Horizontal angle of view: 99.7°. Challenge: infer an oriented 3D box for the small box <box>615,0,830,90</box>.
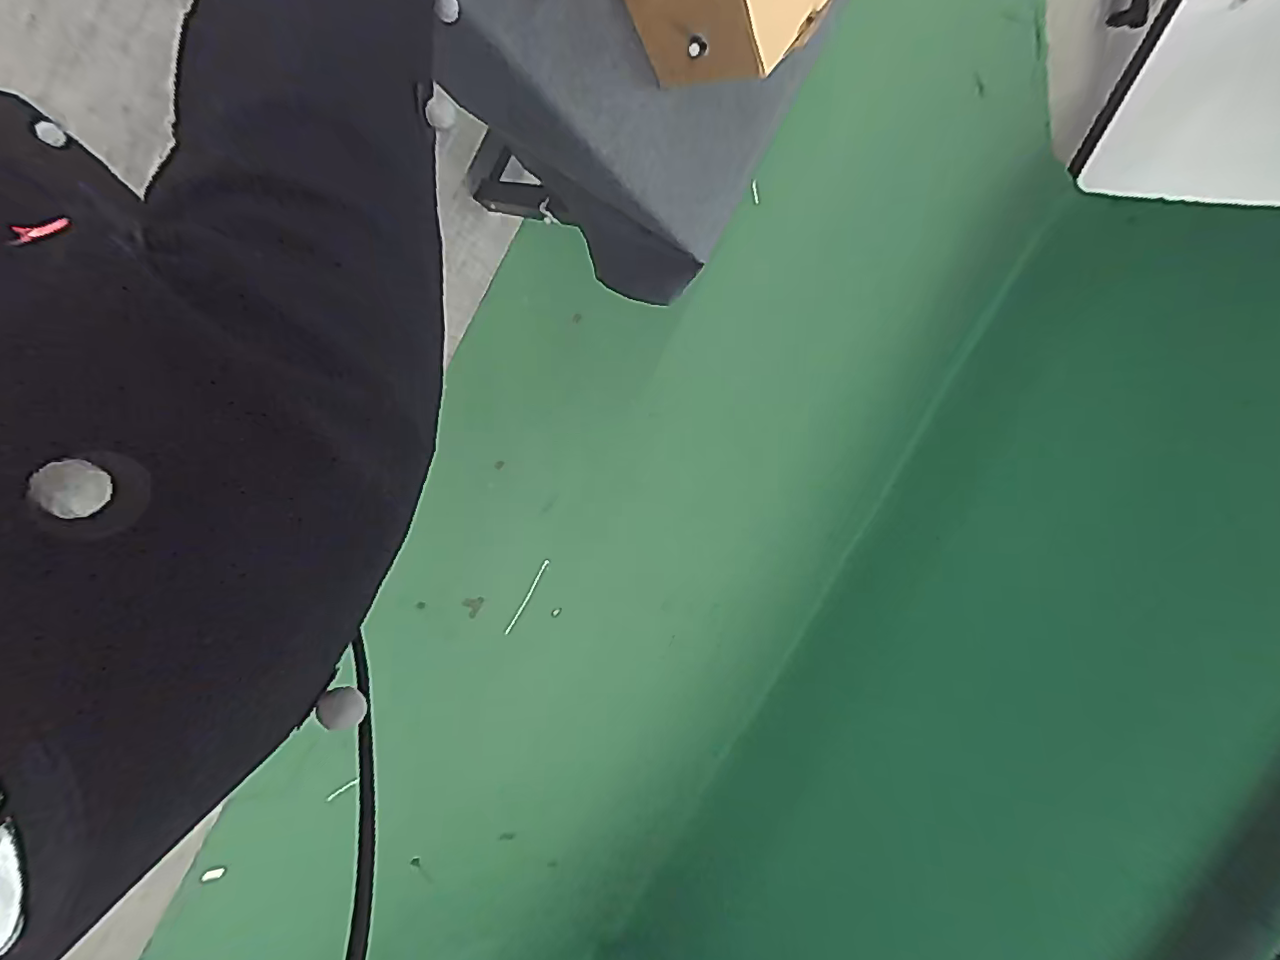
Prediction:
[{"bbox_3d":[0.082,-0.556,0.577,0.168,0.176,0.179,-53,138,-7],"label":"small box"}]
